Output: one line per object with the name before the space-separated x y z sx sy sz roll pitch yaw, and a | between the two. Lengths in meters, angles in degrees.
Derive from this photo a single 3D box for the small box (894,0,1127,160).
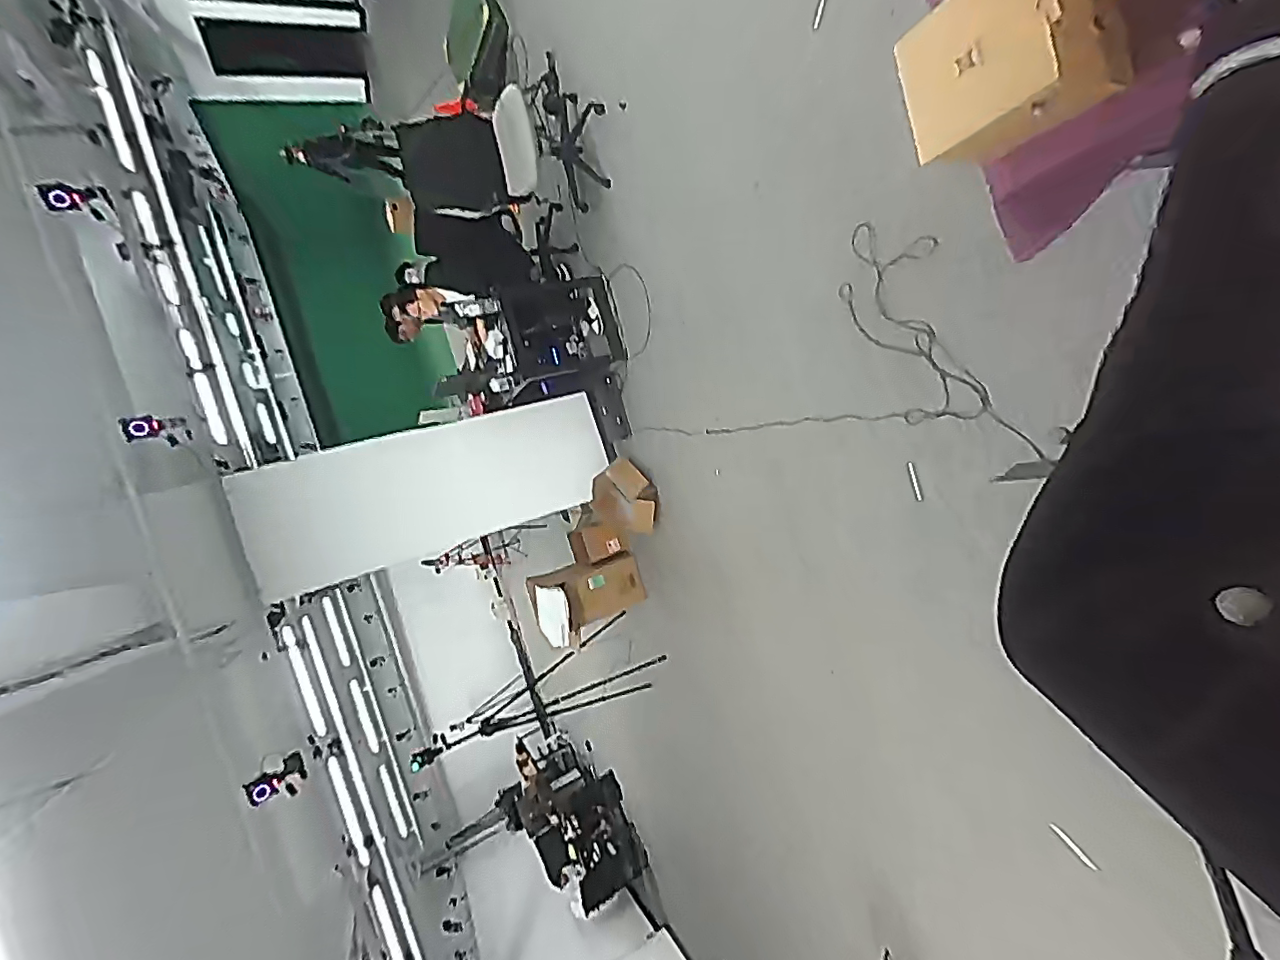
small box | 0.470 -0.541 0.697 0.179 0.176 0.168 -6 100 64
